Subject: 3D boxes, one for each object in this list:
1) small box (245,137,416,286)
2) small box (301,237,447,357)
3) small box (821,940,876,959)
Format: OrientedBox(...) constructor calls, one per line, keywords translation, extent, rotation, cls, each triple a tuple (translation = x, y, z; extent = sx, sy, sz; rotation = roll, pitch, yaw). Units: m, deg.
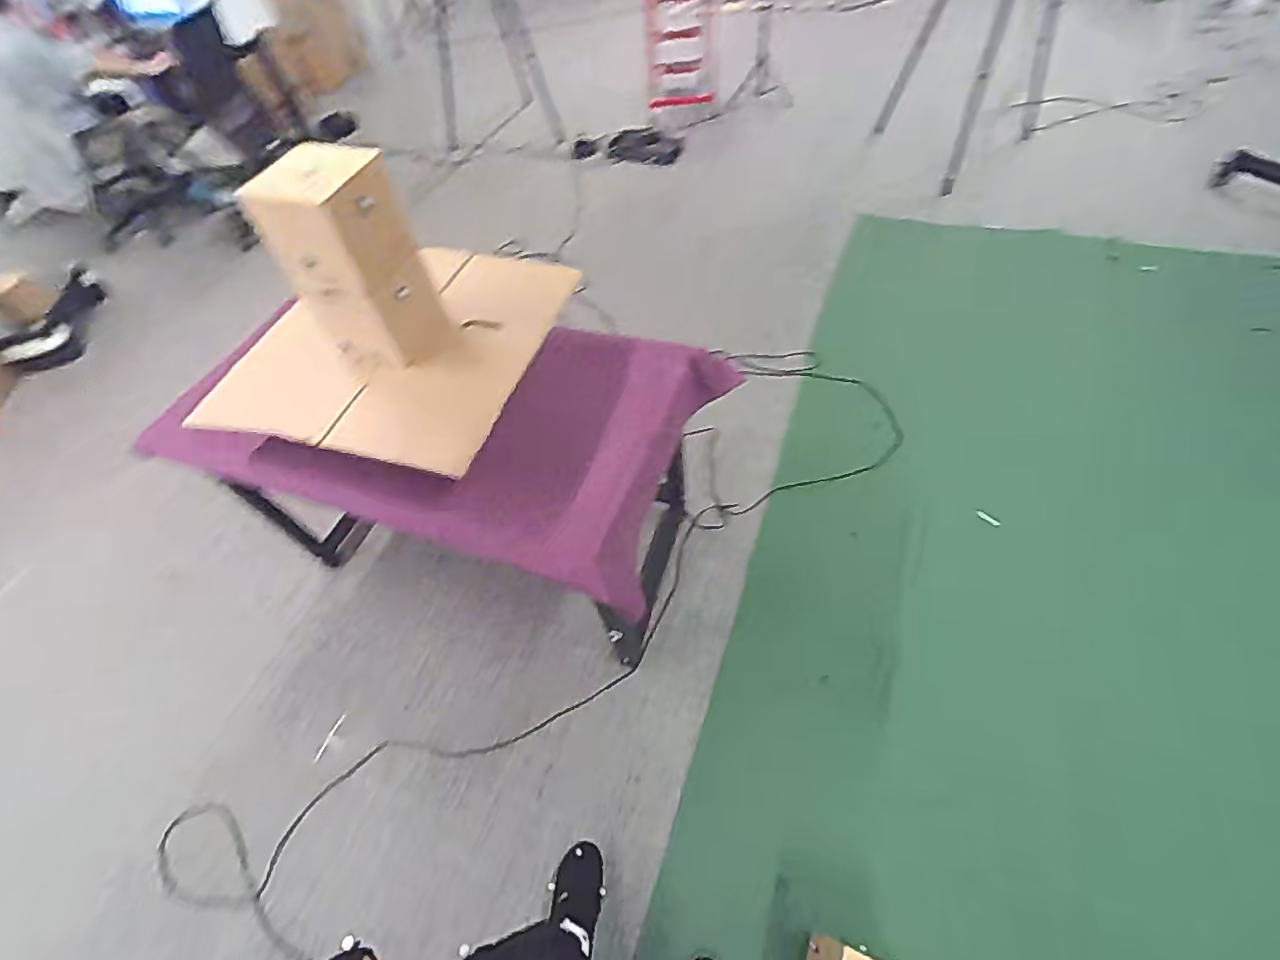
OrientedBox(translation=(-0.525, -0.470, 0.953), extent=(0.168, 0.176, 0.179), rotation=(12, 58, 12), cls="small box")
OrientedBox(translation=(-0.516, -0.370, 1.082), extent=(0.168, 0.176, 0.179), rotation=(13, 56, 12), cls="small box")
OrientedBox(translation=(0.407, 0.942, 0.940), extent=(0.179, 0.176, 0.168), rotation=(17, 58, 18), cls="small box")
